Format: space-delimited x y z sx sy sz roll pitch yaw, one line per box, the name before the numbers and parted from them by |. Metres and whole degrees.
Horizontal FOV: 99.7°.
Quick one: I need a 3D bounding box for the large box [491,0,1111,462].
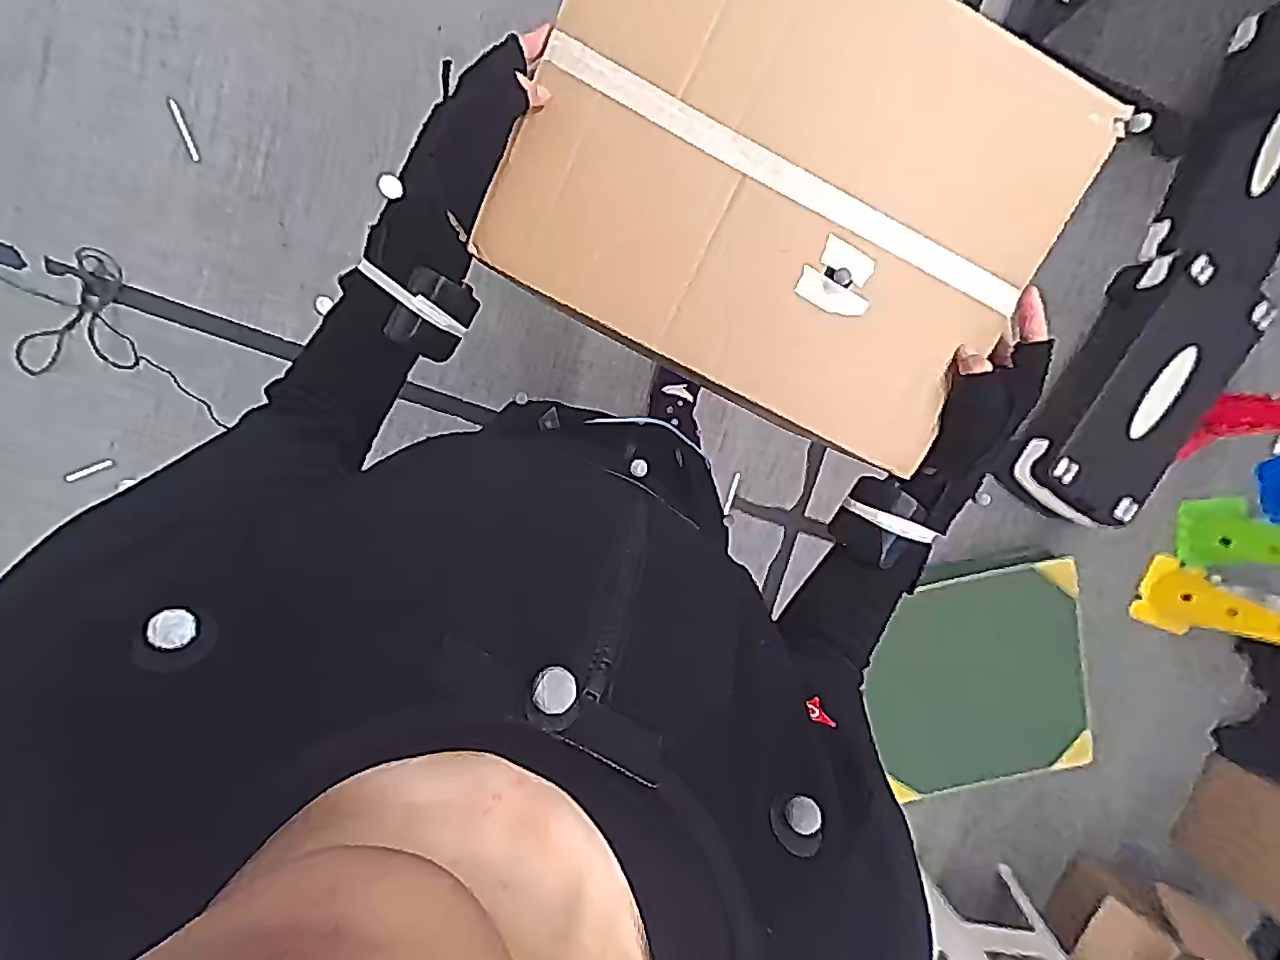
large box | 0.118 -0.261 0.569 0.408 0.320 0.320 26 101 -6
